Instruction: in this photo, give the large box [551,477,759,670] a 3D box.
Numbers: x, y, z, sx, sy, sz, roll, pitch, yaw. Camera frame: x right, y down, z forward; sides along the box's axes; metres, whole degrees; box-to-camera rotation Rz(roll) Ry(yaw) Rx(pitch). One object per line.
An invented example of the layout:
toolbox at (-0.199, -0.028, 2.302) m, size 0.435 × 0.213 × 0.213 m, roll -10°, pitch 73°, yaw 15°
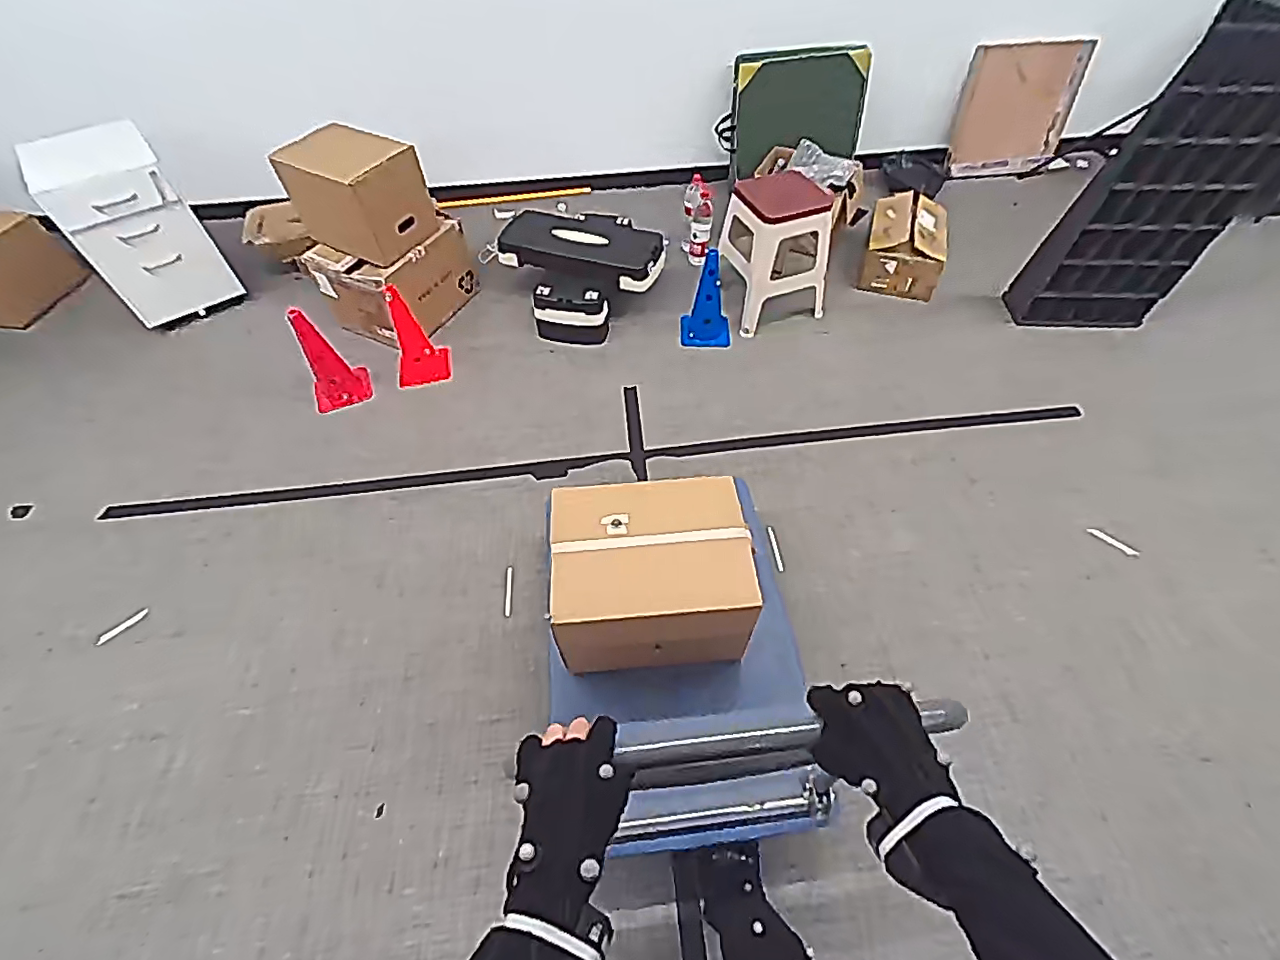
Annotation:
large box at (0.023, 0.220, 1.228) m, size 0.408 × 0.320 × 0.320 m, roll -5°, pitch 53°, yaw -1°
